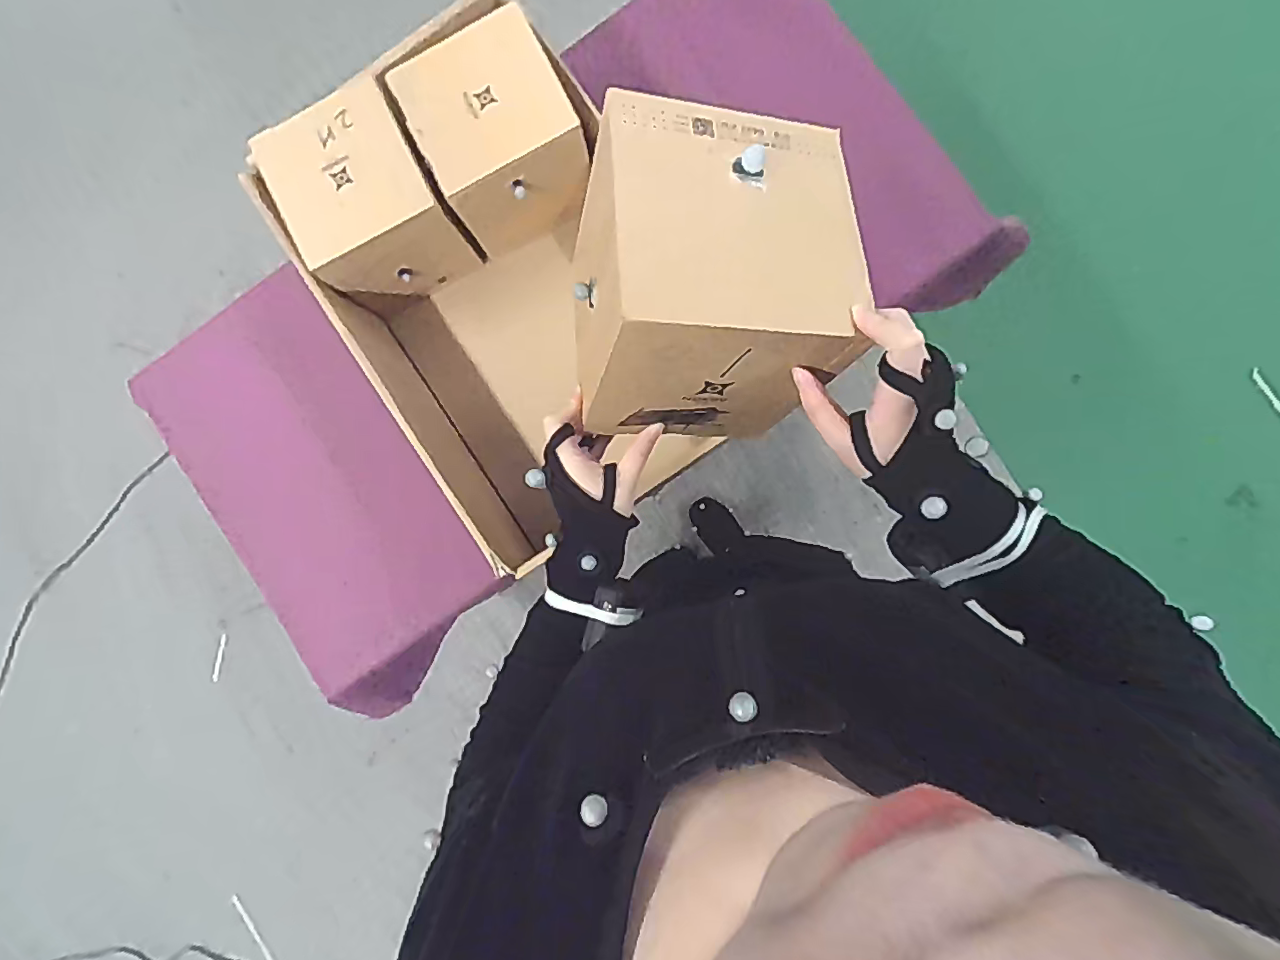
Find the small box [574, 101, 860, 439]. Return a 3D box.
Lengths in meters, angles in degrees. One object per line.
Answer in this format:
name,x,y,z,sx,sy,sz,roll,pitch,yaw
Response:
small box,0.040,-0.143,0.423,0.168,0.179,0.176,0,73,-14
